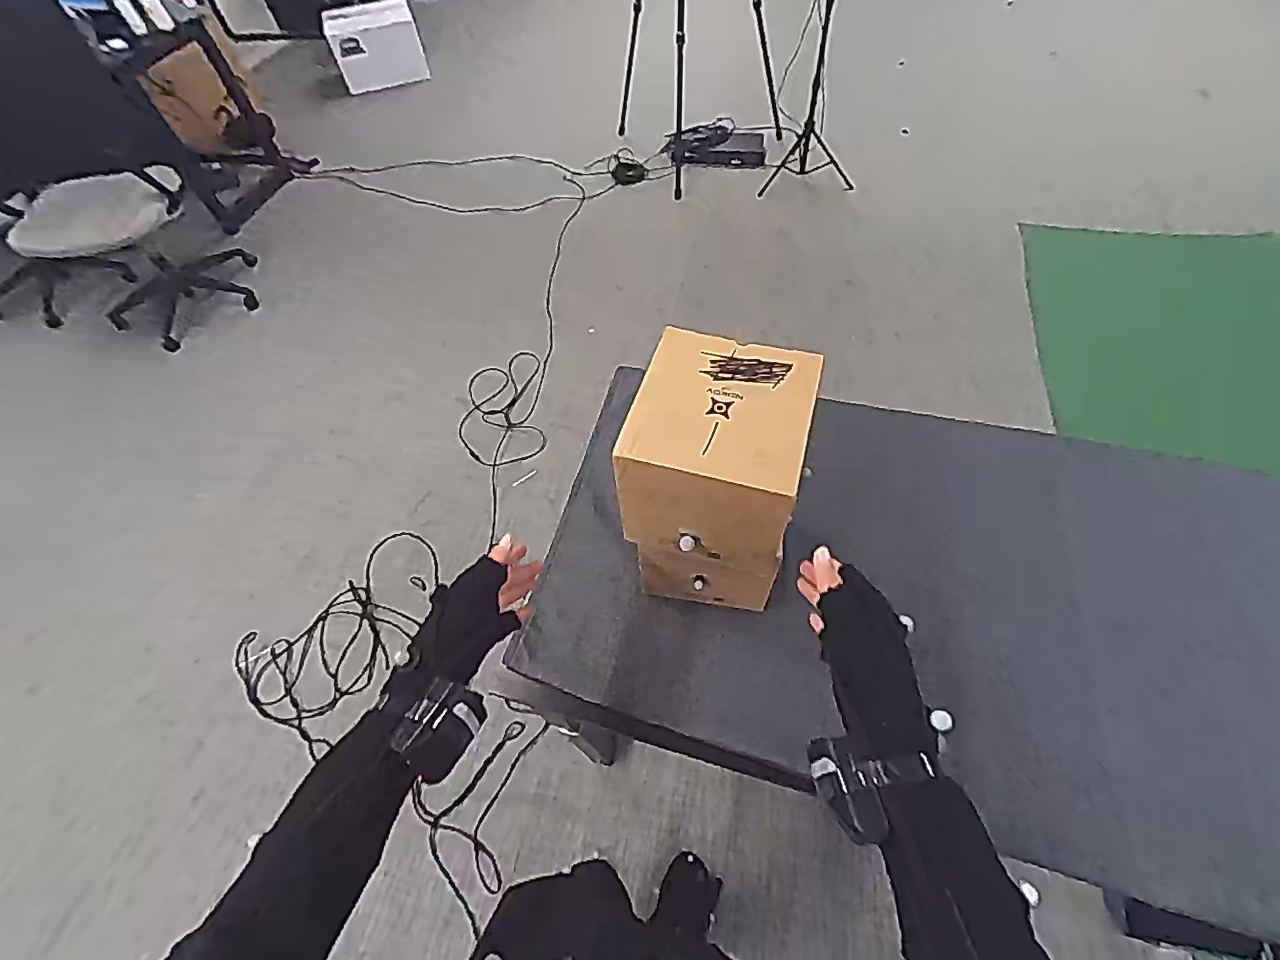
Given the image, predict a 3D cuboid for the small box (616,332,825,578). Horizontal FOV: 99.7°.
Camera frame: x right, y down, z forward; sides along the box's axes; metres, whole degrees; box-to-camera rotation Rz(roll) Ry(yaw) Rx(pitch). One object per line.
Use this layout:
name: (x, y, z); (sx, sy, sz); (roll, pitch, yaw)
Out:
small box: (0.084, -0.024, 0.576); (0.168, 0.176, 0.179); (14, 58, 13)

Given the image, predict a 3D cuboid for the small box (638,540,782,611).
small box: (0.097, 0.057, 0.720); (0.168, 0.176, 0.179); (7, 56, 8)
